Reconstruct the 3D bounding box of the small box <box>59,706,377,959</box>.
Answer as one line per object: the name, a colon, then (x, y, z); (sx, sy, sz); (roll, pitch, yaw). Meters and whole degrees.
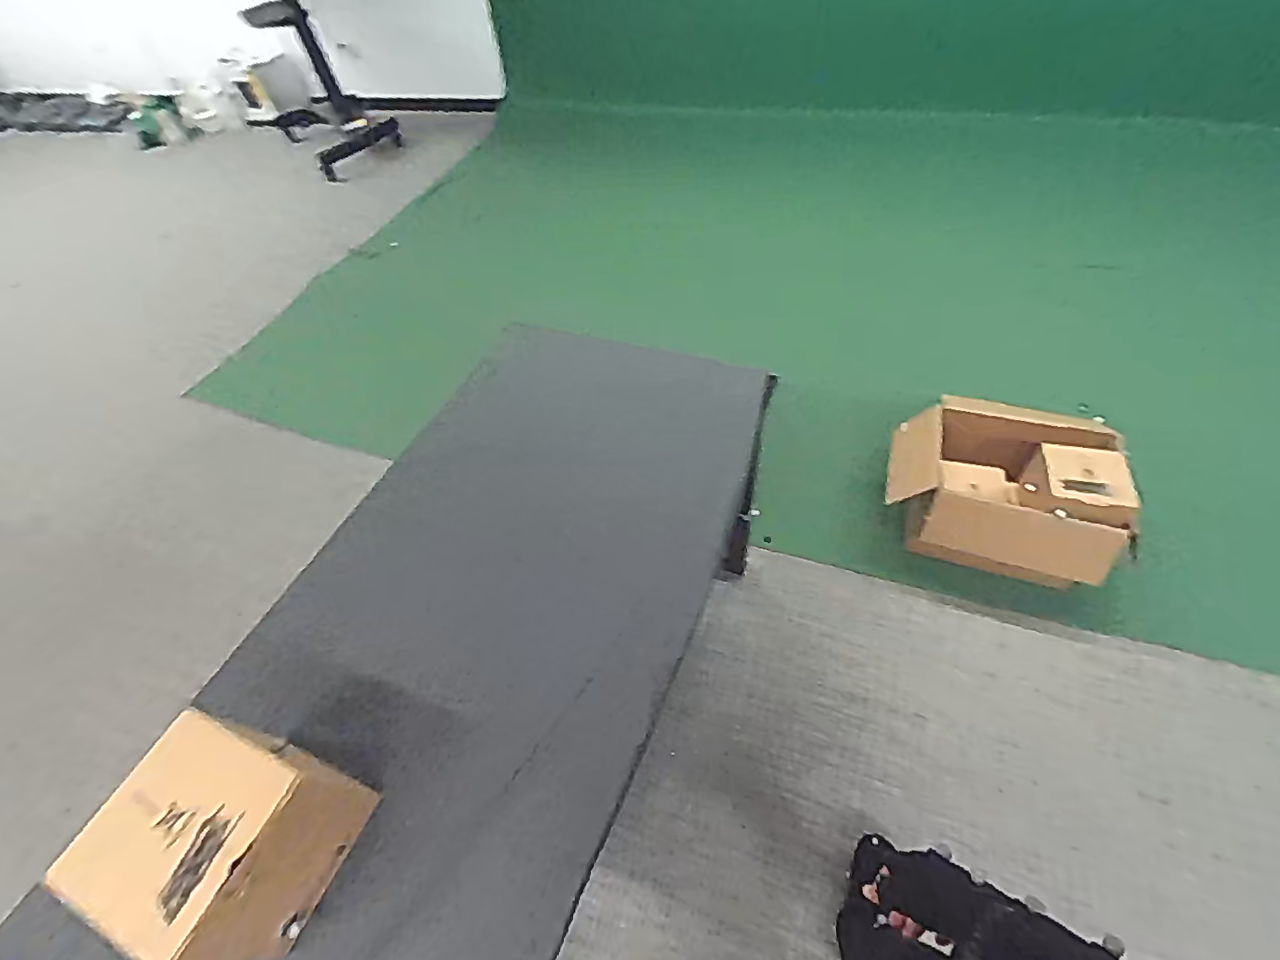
small box: (-0.432, 0.377, 0.589); (0.179, 0.176, 0.168); (15, 56, 19)
